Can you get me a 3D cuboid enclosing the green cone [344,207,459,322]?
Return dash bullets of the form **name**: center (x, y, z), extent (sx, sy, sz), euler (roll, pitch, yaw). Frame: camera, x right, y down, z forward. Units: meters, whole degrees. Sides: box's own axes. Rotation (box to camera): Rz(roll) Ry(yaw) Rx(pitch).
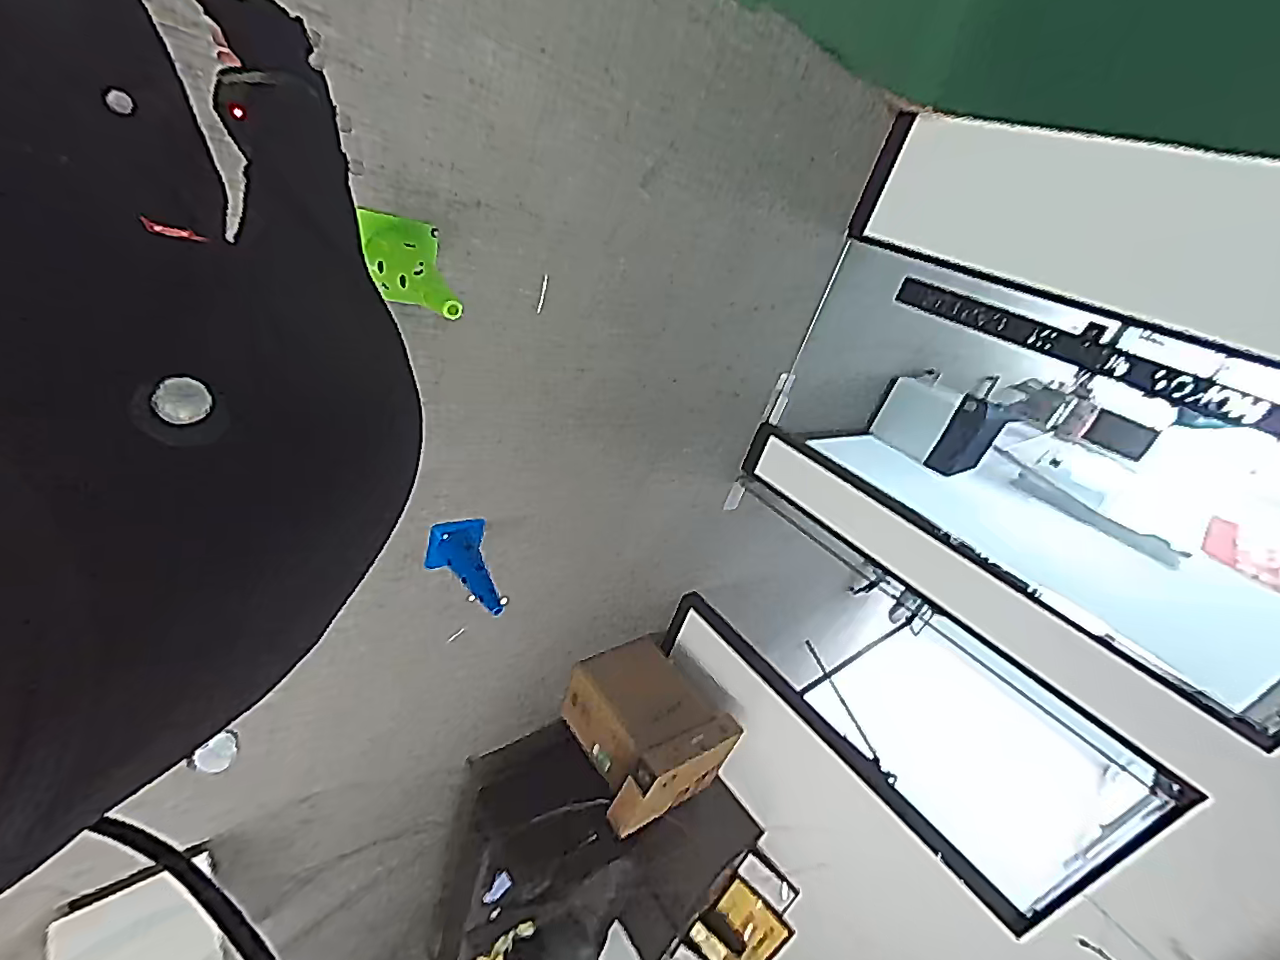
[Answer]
- **green cone**: center (-0.501, -0.445, 1.208), extent (0.200, 0.368, 0.202), euler (-9, 129, -42)
